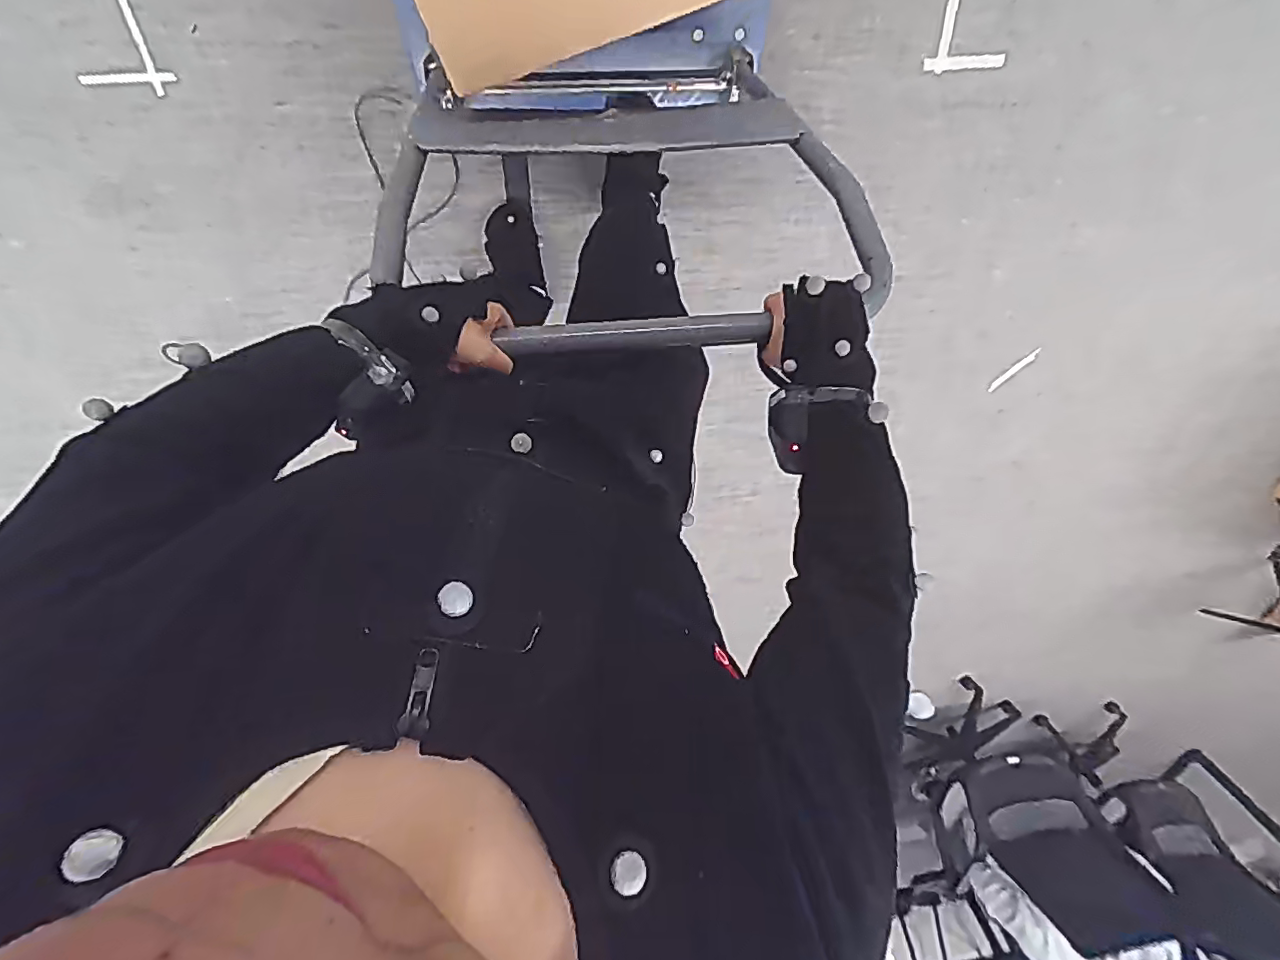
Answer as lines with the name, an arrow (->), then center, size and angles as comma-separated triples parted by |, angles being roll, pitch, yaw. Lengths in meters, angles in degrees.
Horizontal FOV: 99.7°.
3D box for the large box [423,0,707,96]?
large box -> -0.092, -0.727, 0.630 | 0.408, 0.320, 0.320 | -18, 138, 6
